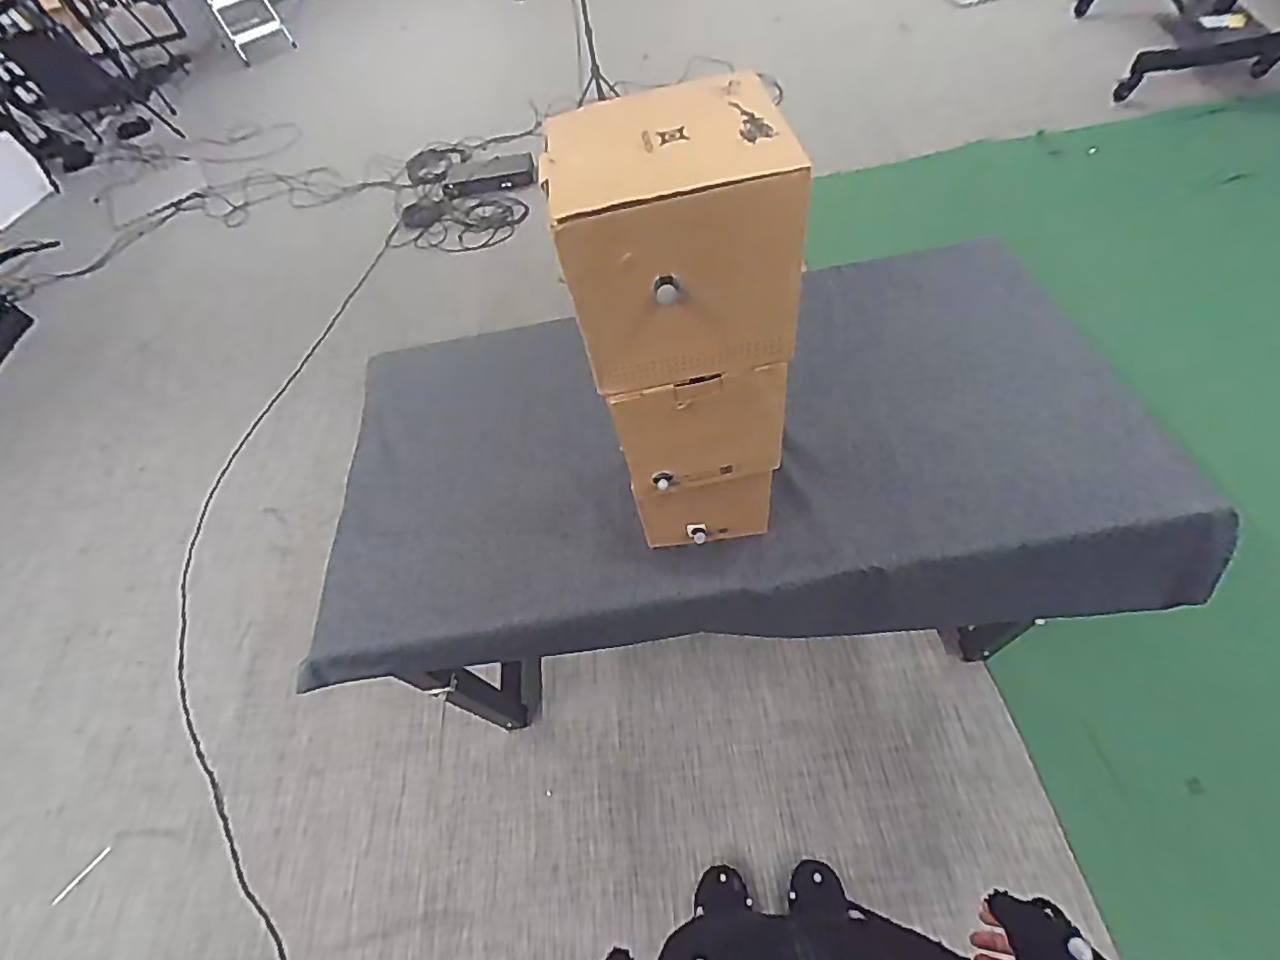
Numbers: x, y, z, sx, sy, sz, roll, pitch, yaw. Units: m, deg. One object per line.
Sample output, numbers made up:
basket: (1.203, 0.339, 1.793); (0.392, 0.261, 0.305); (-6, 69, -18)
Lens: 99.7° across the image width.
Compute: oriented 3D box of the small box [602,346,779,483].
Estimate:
small box: (0.048, -0.114, 0.603); (0.168, 0.176, 0.179); (-16, 56, 2)

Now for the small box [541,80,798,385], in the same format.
small box: (0.025, -0.206, 0.472); (0.179, 0.176, 0.168); (-13, 53, 2)

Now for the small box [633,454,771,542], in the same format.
small box: (0.078, -0.037, 0.745); (0.168, 0.176, 0.179); (-10, 57, 5)
